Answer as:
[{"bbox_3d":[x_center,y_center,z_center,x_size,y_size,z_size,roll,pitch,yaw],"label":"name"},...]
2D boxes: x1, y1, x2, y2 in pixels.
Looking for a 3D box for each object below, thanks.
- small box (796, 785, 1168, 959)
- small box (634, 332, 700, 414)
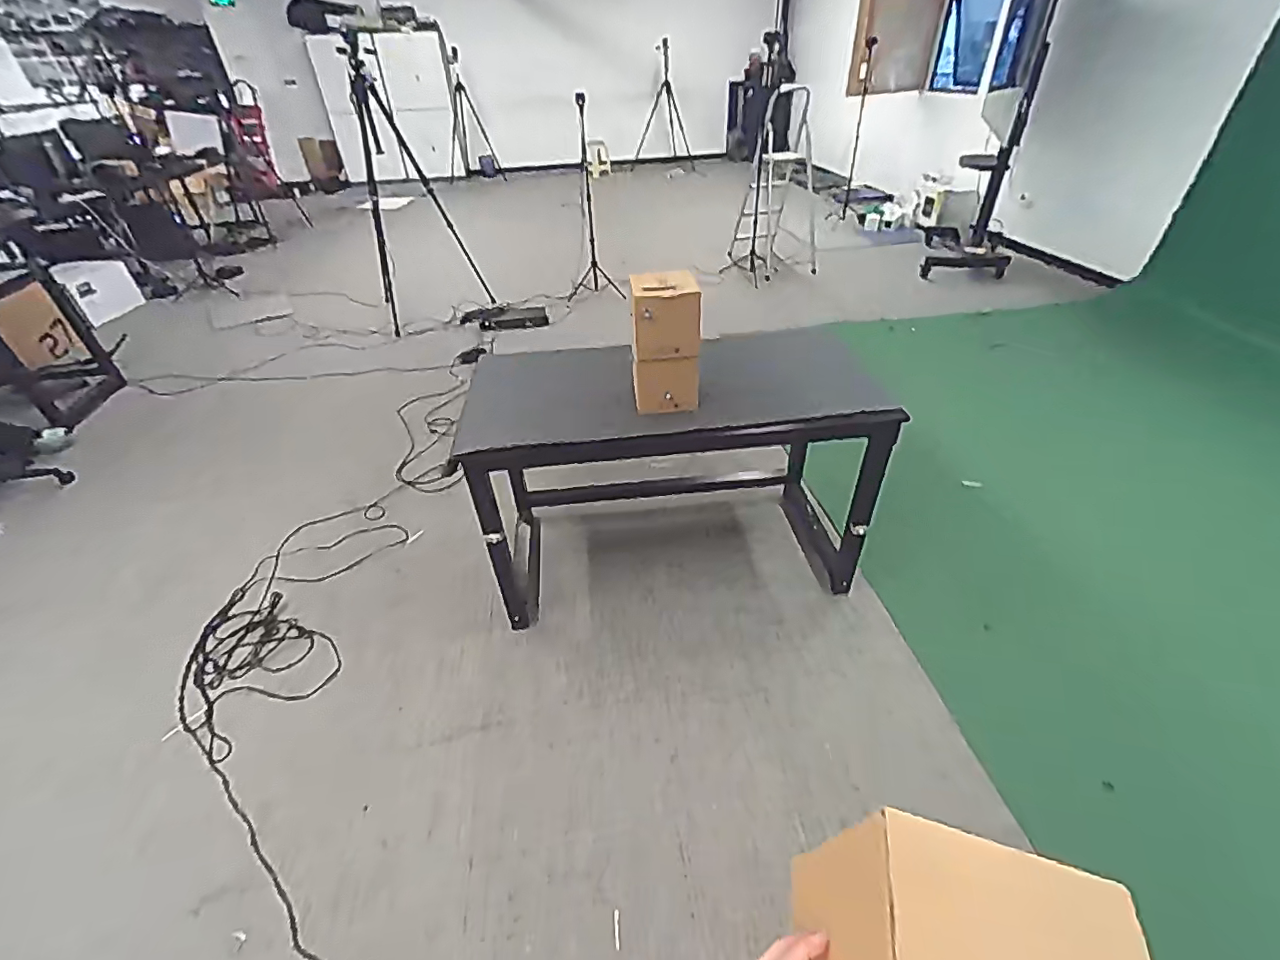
[{"bbox_3d":[0.207,0.339,0.349,0.168,0.176,0.179,17,44,4],"label":"small box"},{"bbox_3d":[0.071,-0.301,1.516,0.168,0.176,0.179,-5,37,-2],"label":"small box"}]
